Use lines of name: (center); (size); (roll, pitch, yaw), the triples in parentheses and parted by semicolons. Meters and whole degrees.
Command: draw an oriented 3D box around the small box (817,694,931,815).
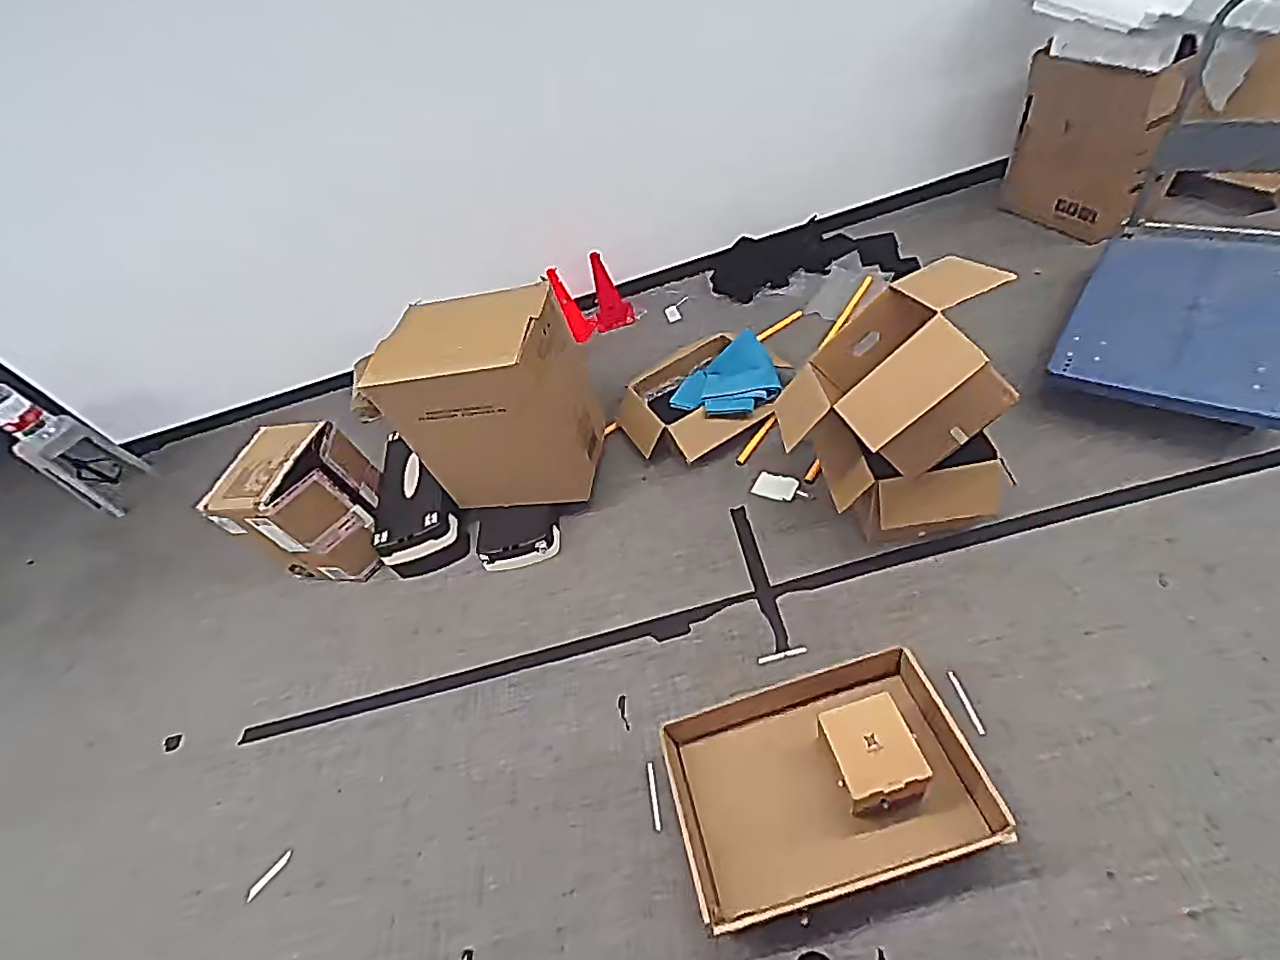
small box: (0.500, 0.604, 1.186); (0.168, 0.176, 0.179); (-20, 47, 2)
